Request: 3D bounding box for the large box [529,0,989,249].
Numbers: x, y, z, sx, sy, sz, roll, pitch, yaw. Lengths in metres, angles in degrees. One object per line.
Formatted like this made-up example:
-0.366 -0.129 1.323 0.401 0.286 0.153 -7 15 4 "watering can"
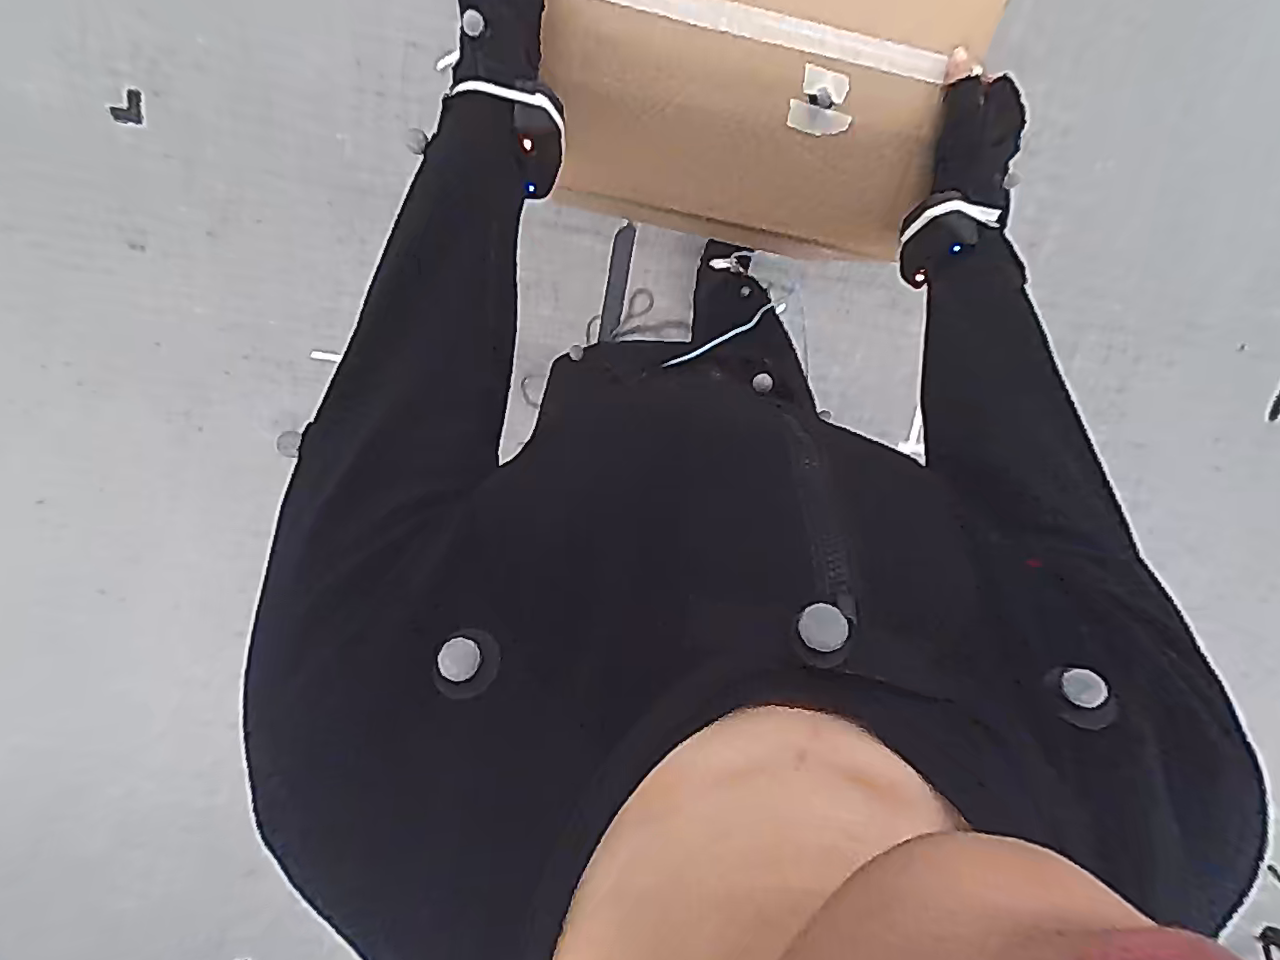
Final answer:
0.102 -0.469 0.628 0.408 0.320 0.320 9 113 -7 "large box"
